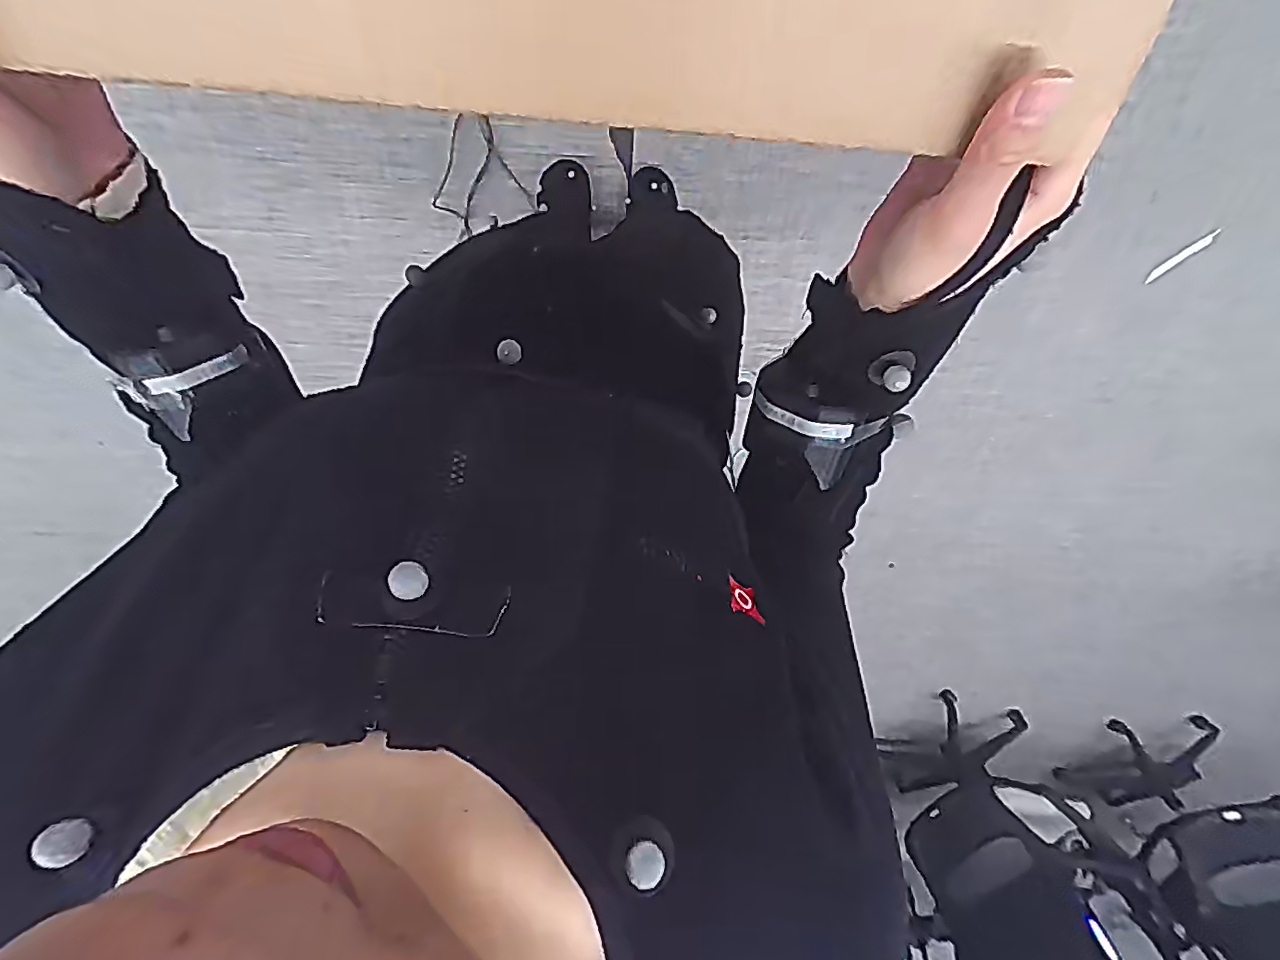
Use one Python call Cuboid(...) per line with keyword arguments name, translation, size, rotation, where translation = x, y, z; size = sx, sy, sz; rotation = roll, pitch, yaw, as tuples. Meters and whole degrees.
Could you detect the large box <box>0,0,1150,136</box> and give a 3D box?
Cuboid(name="large box", translation=(-0.030, -0.346, 0.177), size=(0.408, 0.320, 0.320), rotation=(3, 140, -2))
